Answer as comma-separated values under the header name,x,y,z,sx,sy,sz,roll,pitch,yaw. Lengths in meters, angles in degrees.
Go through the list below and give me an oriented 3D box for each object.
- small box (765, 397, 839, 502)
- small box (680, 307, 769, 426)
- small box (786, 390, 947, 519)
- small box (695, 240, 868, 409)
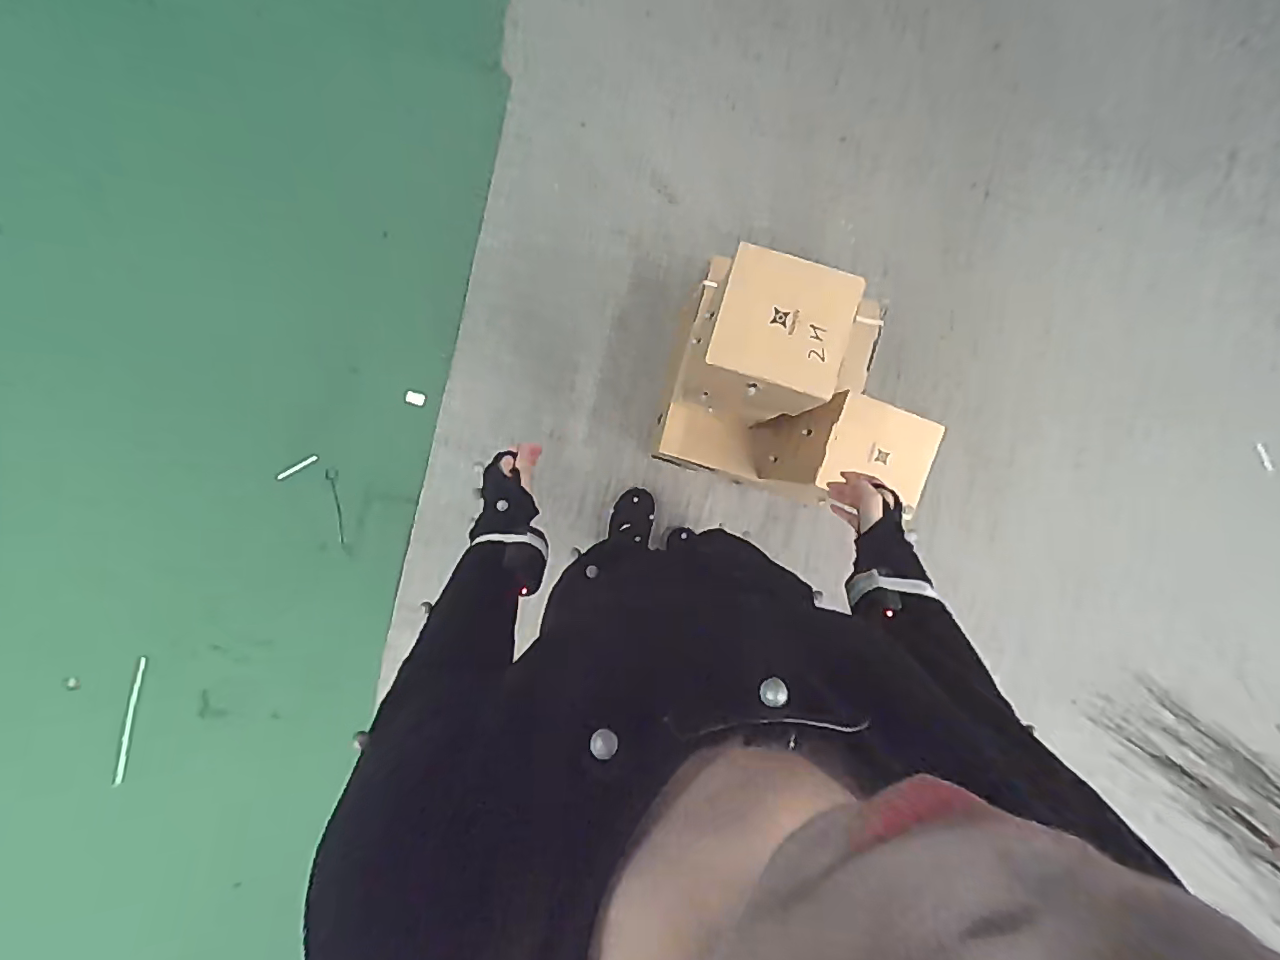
name,x,y,z,sx,sy,sz,roll,pitch,yaw
small box,0.371,-0.058,1.109,0.168,0.176,0.179,19,90,-3
small box,0.186,-0.224,1.103,0.168,0.176,0.179,19,89,0
small box,0.384,-0.044,0.947,0.179,0.176,0.168,20,90,-2
small box,0.187,-0.208,0.773,0.179,0.176,0.168,17,90,-1
